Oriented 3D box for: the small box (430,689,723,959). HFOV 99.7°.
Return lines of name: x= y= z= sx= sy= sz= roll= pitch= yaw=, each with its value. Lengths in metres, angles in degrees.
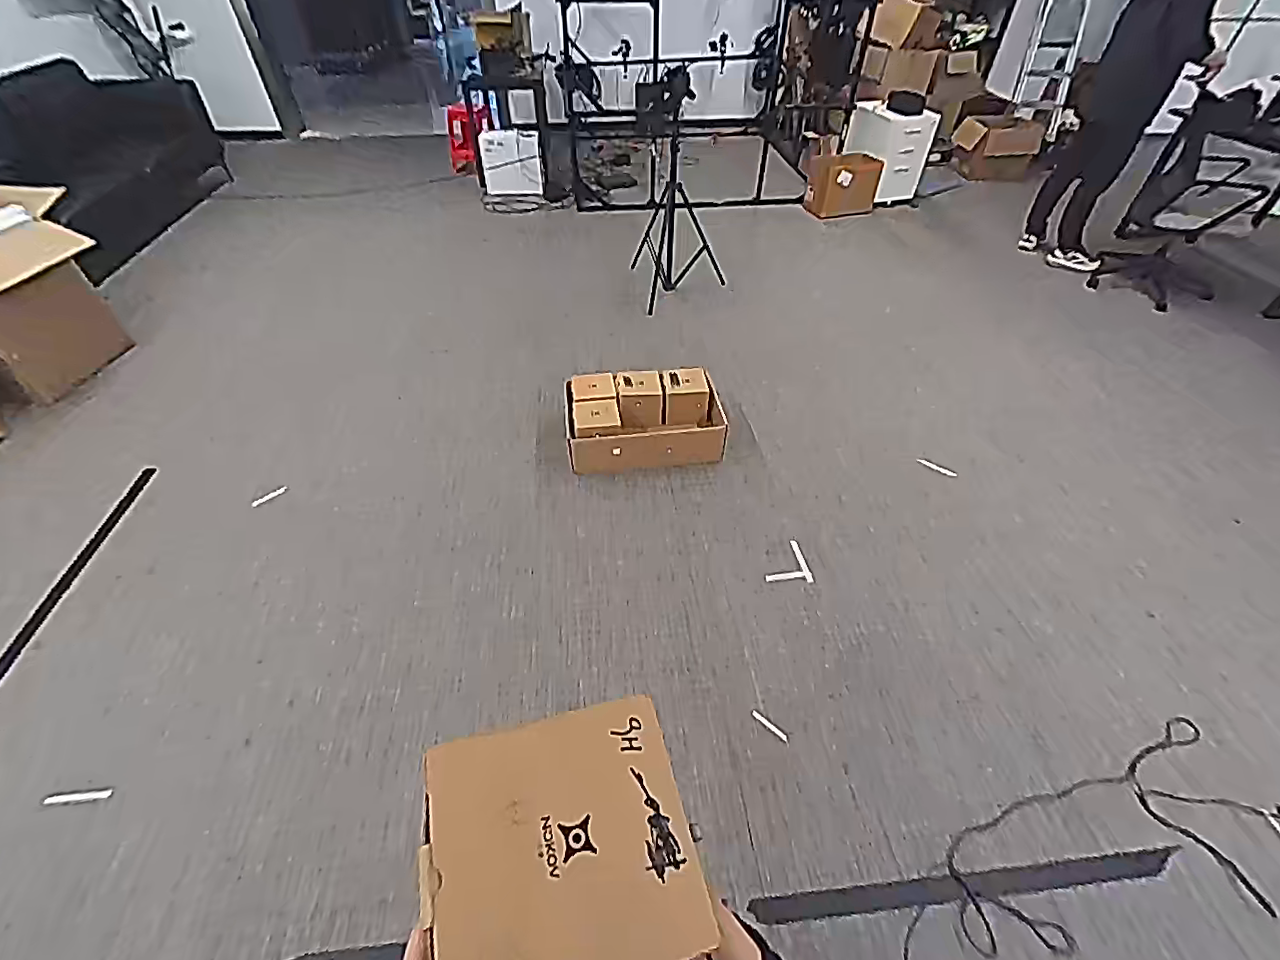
small box: x=-0.058 y=0.294 z=0.428 sx=0.179 sy=0.176 sz=0.168 roll=-7 pitch=51 yaw=-17
